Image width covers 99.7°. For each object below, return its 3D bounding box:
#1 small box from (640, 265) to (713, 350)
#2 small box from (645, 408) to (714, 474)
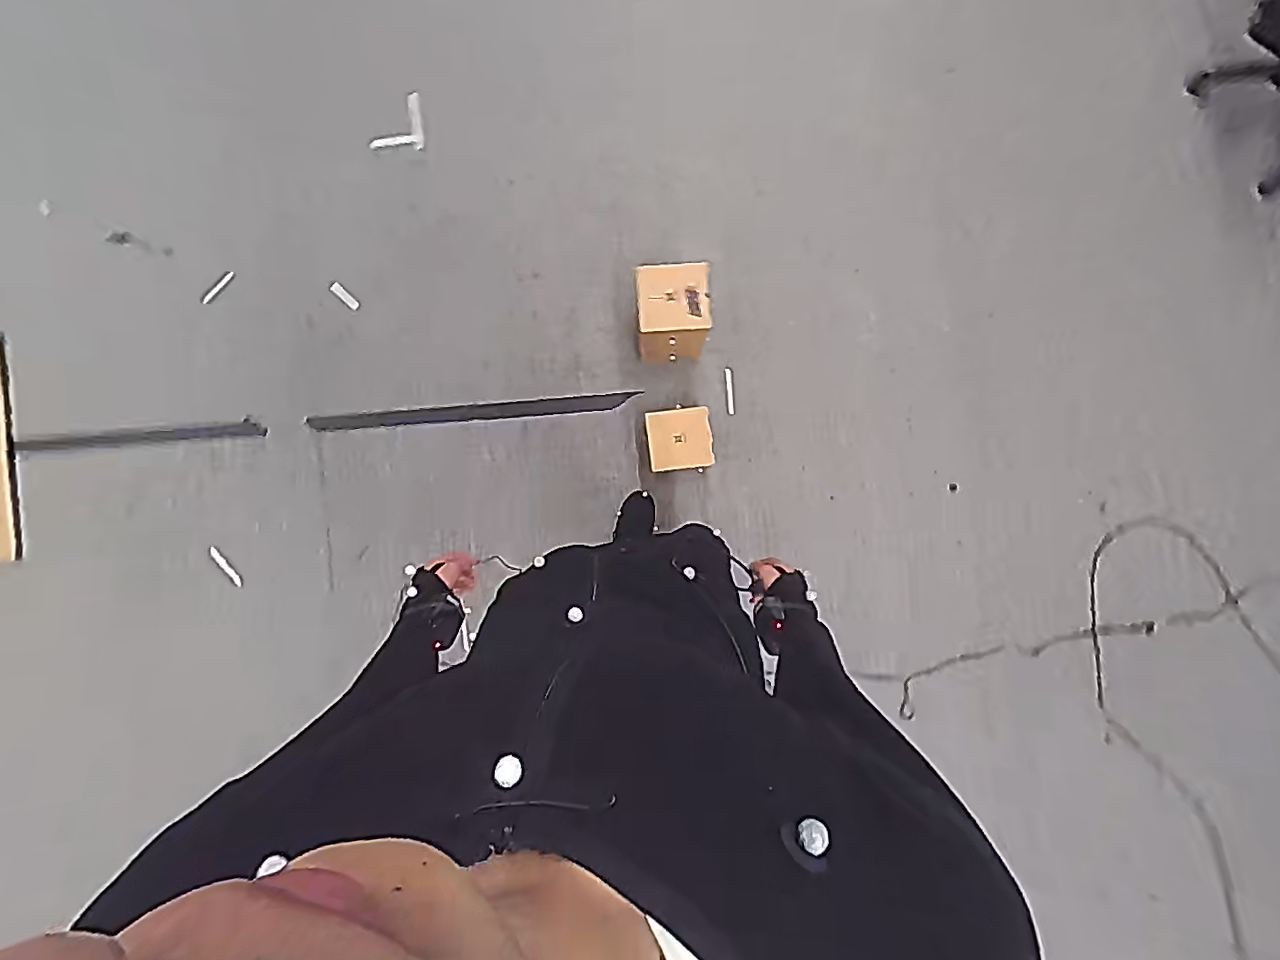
[{"bbox_3d":[0.090,-0.441,1.402,0.179,0.176,0.168,-3,88,1],"label":"small box"},{"bbox_3d":[0.111,-0.107,1.562,0.179,0.176,0.168,-7,89,0],"label":"small box"}]
